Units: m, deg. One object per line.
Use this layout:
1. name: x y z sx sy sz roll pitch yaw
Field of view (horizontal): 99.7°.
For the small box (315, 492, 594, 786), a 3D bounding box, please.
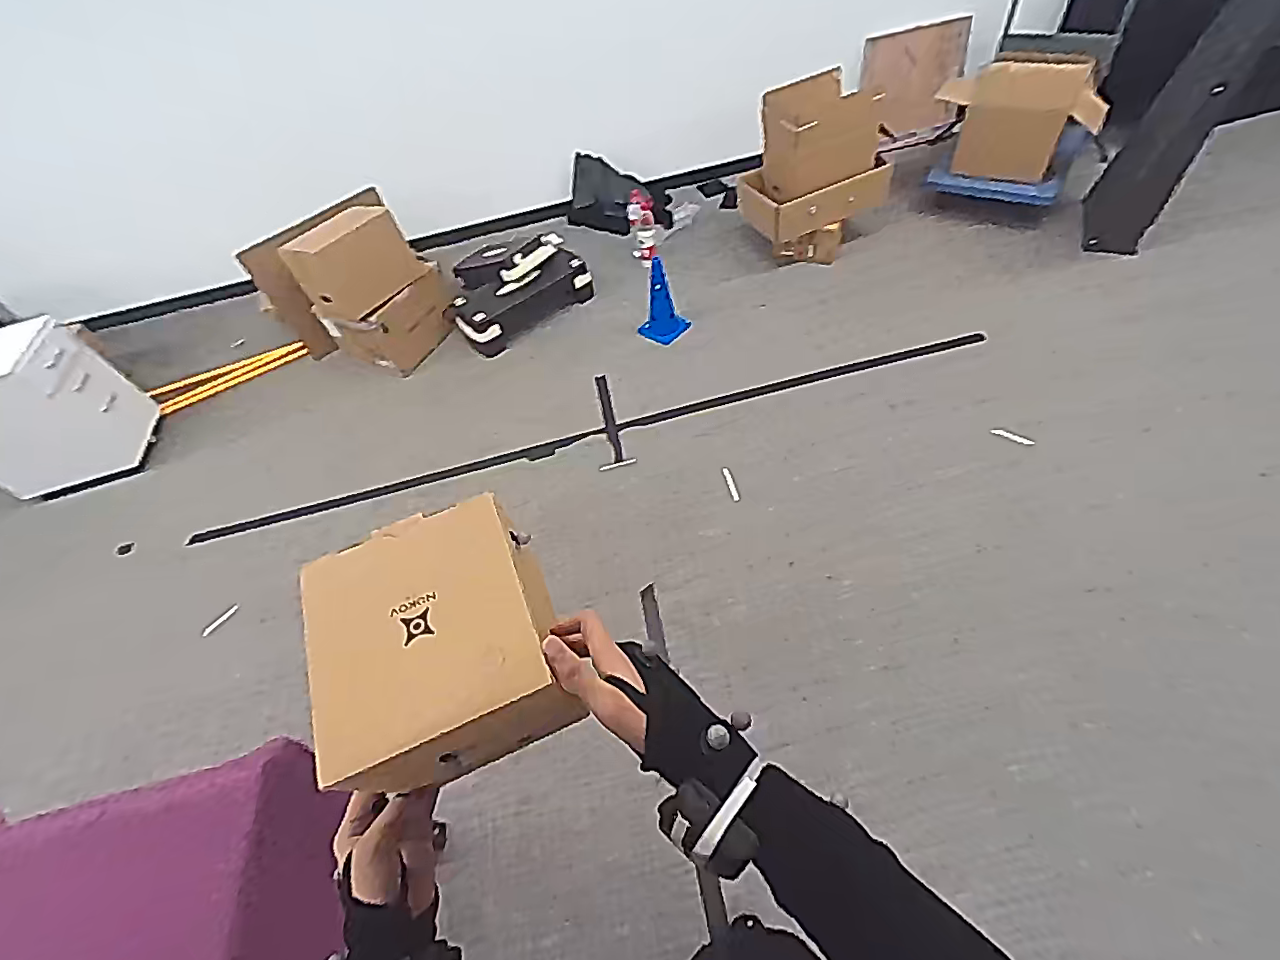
1. small box: -0.152 0.146 0.477 0.168 0.176 0.179 -22 58 -7
